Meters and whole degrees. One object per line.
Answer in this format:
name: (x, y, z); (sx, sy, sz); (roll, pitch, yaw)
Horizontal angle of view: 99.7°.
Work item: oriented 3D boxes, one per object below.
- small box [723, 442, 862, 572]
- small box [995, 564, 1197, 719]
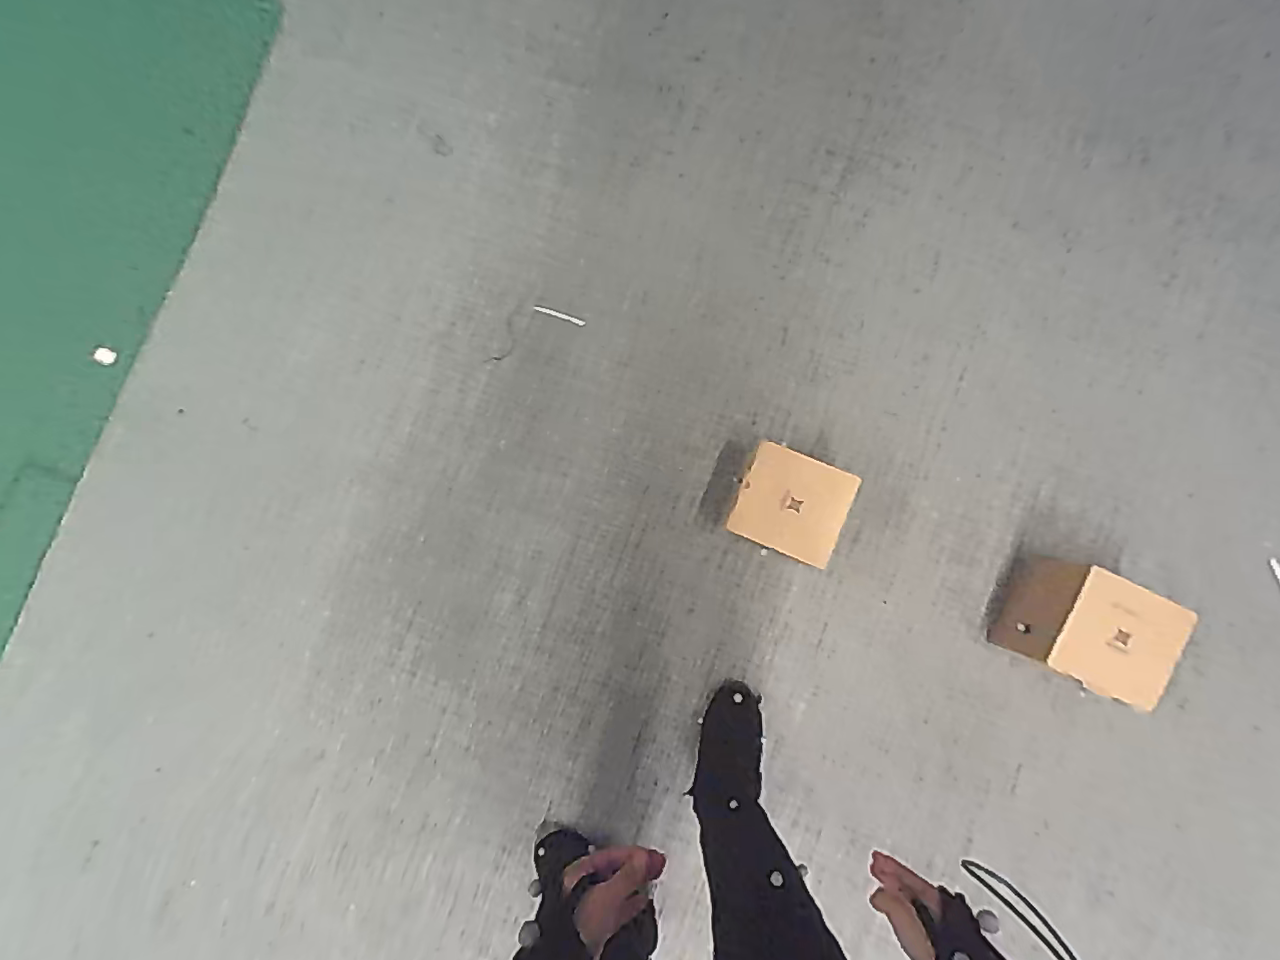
small box: (0.260, 0.048, 0.963); (0.179, 0.176, 0.168); (23, 88, 8)
small box: (0.736, 0.254, 0.898); (0.168, 0.176, 0.179); (27, 87, 6)
